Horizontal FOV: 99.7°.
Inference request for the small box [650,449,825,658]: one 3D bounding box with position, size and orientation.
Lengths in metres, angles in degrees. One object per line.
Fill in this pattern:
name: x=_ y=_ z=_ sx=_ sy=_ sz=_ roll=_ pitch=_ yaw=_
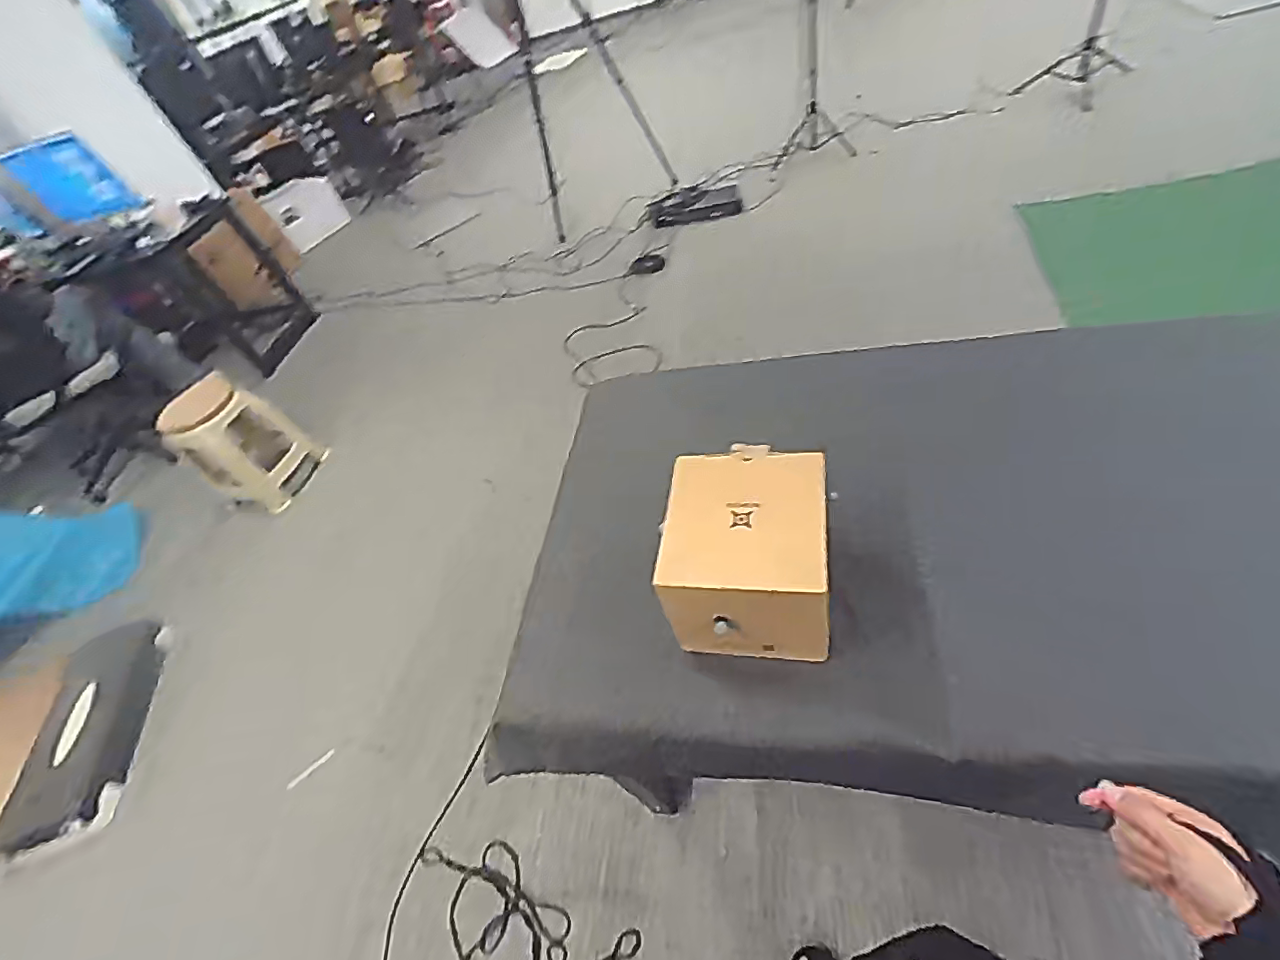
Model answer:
small box: x=0.122 y=0.086 z=0.617 sx=0.168 sy=0.176 sz=0.179 roll=-1 pitch=49 yaw=18
